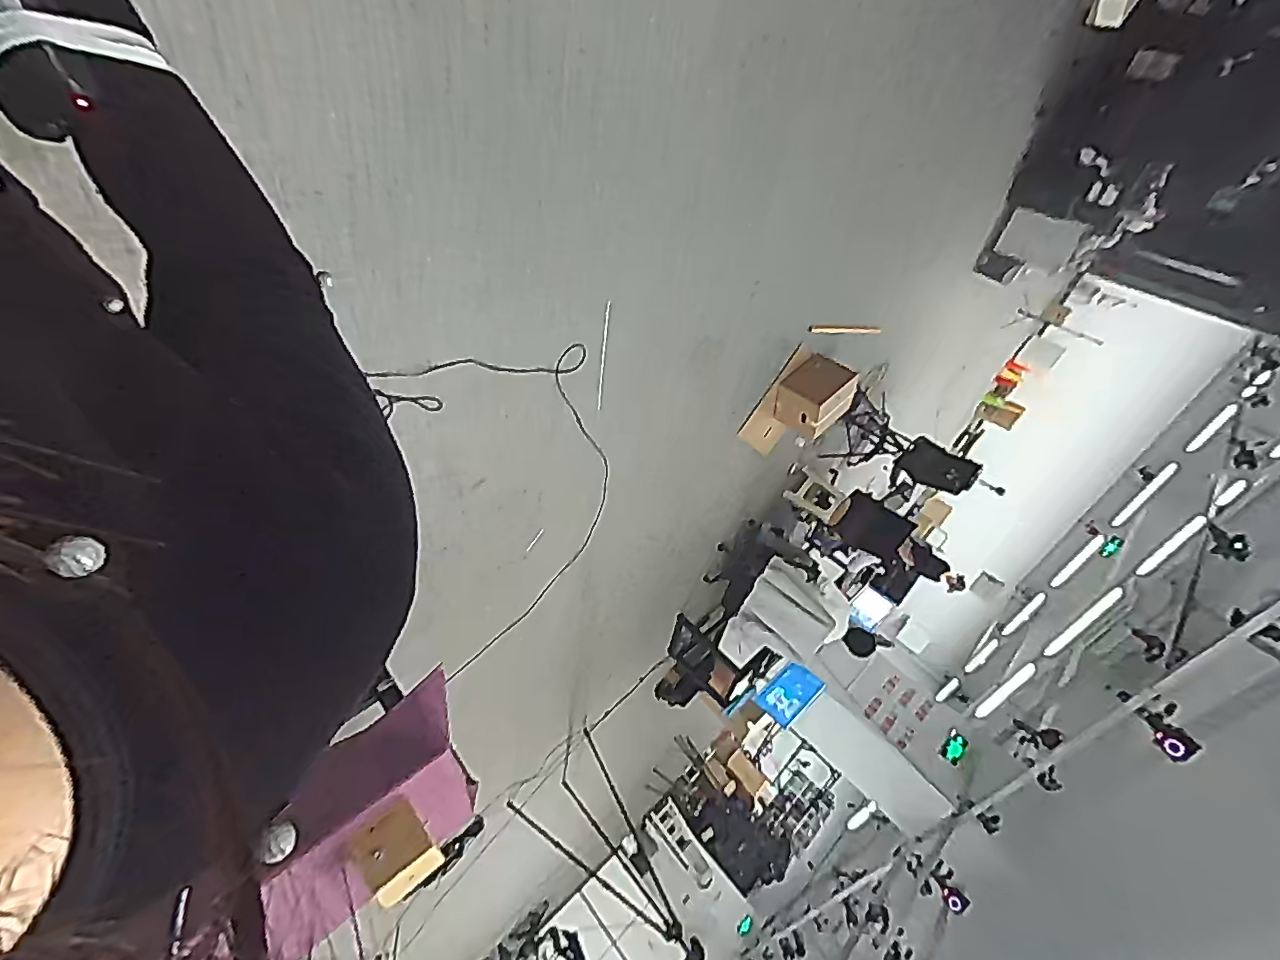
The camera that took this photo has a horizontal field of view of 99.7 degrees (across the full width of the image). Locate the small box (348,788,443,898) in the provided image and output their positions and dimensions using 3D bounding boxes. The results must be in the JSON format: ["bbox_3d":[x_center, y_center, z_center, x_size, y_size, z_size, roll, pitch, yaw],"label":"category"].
[{"bbox_3d":[-0.666,0.983,1.474,0.168,0.176,0.179,-30,146,-32],"label":"small box"}]
